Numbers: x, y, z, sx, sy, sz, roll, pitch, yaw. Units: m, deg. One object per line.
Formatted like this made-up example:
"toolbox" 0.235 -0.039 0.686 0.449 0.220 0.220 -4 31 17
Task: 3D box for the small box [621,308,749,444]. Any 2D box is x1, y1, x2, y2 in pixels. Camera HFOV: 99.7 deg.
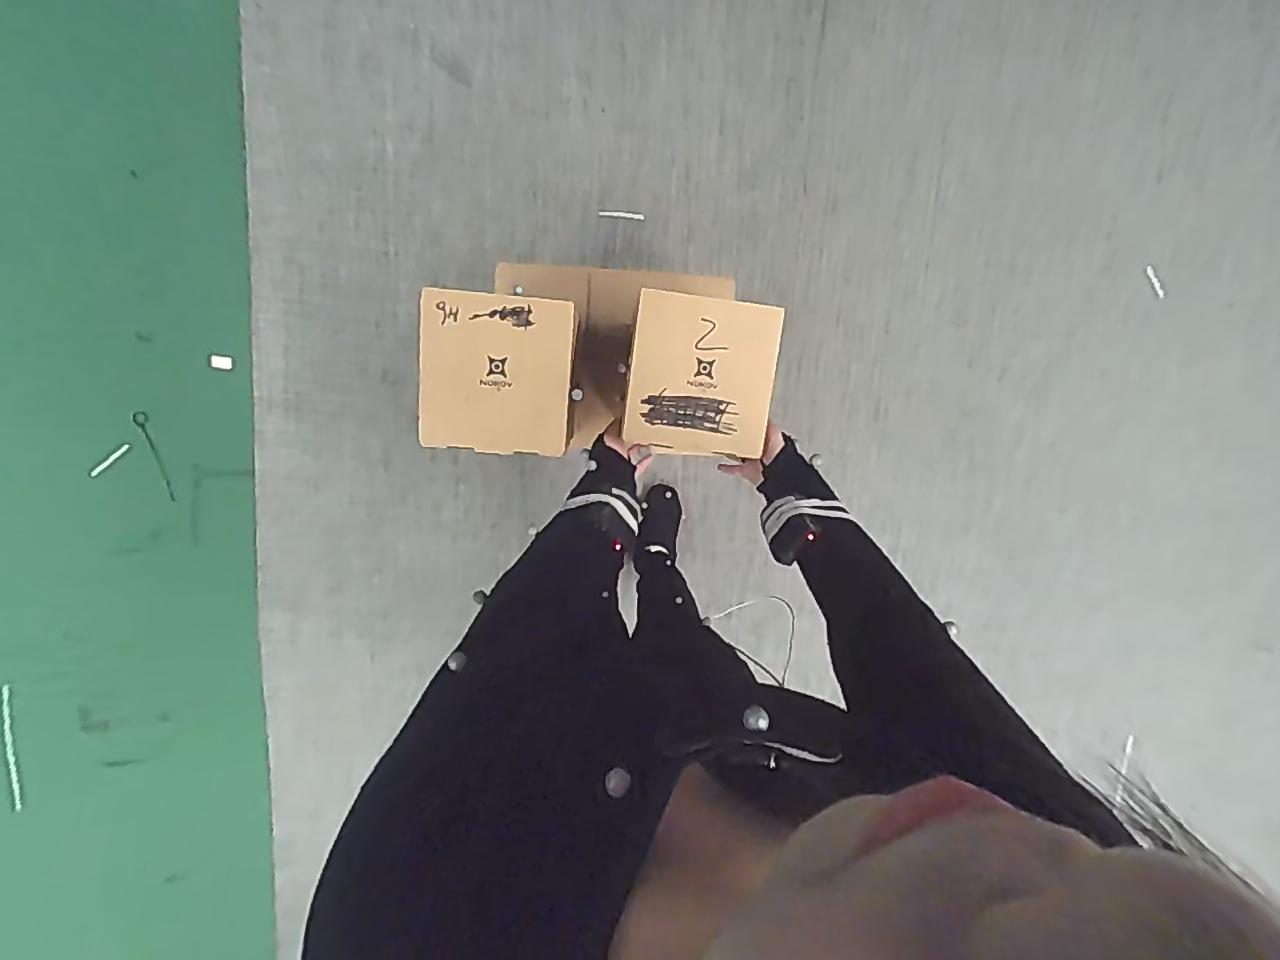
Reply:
"small box" 0.061 -0.159 0.852 0.168 0.176 0.179 7 98 -4

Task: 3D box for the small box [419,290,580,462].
"small box" -0.166 -0.128 0.680 0.168 0.176 0.179 5 100 -5
